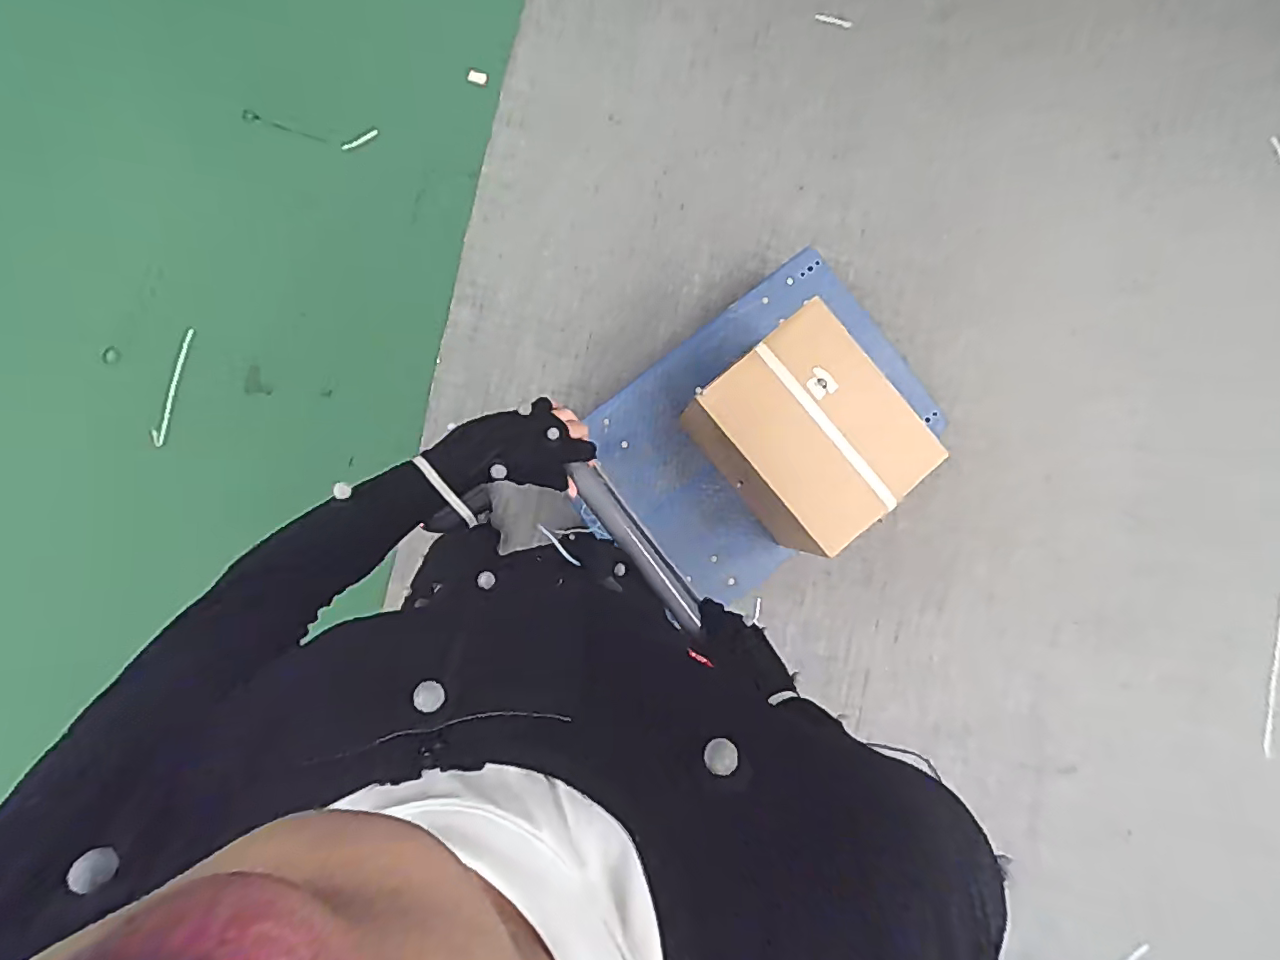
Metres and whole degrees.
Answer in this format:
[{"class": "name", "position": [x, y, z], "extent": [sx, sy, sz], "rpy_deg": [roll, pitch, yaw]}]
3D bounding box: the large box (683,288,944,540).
[{"class": "large box", "position": [0.348, -0.124, 1.192], "extent": [0.320, 0.320, 0.408], "rpy_deg": [-40, 90, -3]}]
